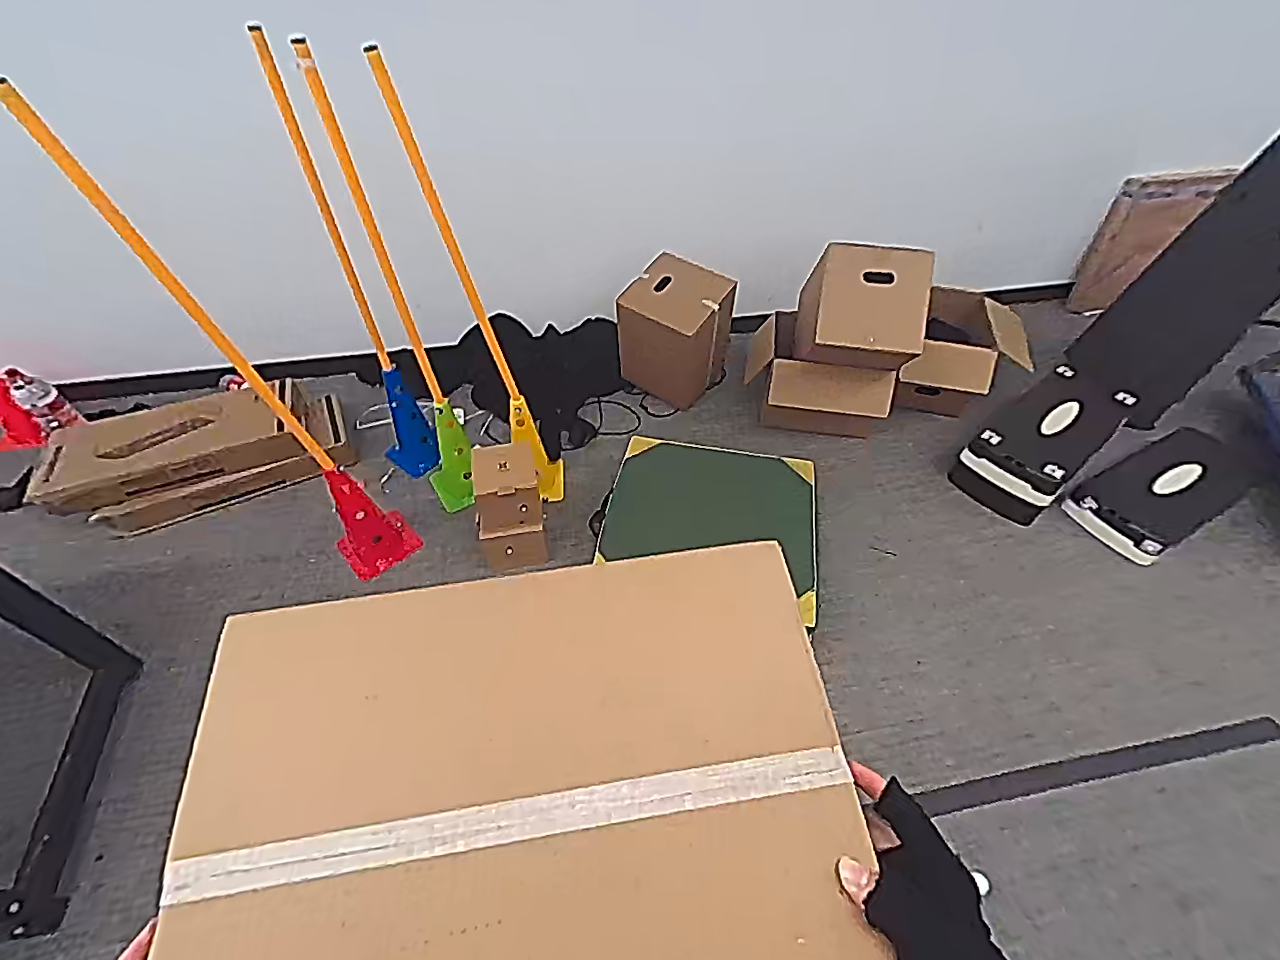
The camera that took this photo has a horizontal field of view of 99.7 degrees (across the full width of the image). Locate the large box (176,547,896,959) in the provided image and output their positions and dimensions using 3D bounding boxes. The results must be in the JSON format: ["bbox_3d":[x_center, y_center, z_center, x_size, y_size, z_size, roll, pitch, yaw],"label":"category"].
[{"bbox_3d":[-0.068,0.285,0.463,0.408,0.320,0.320,-8,61,-4],"label":"large box"}]
